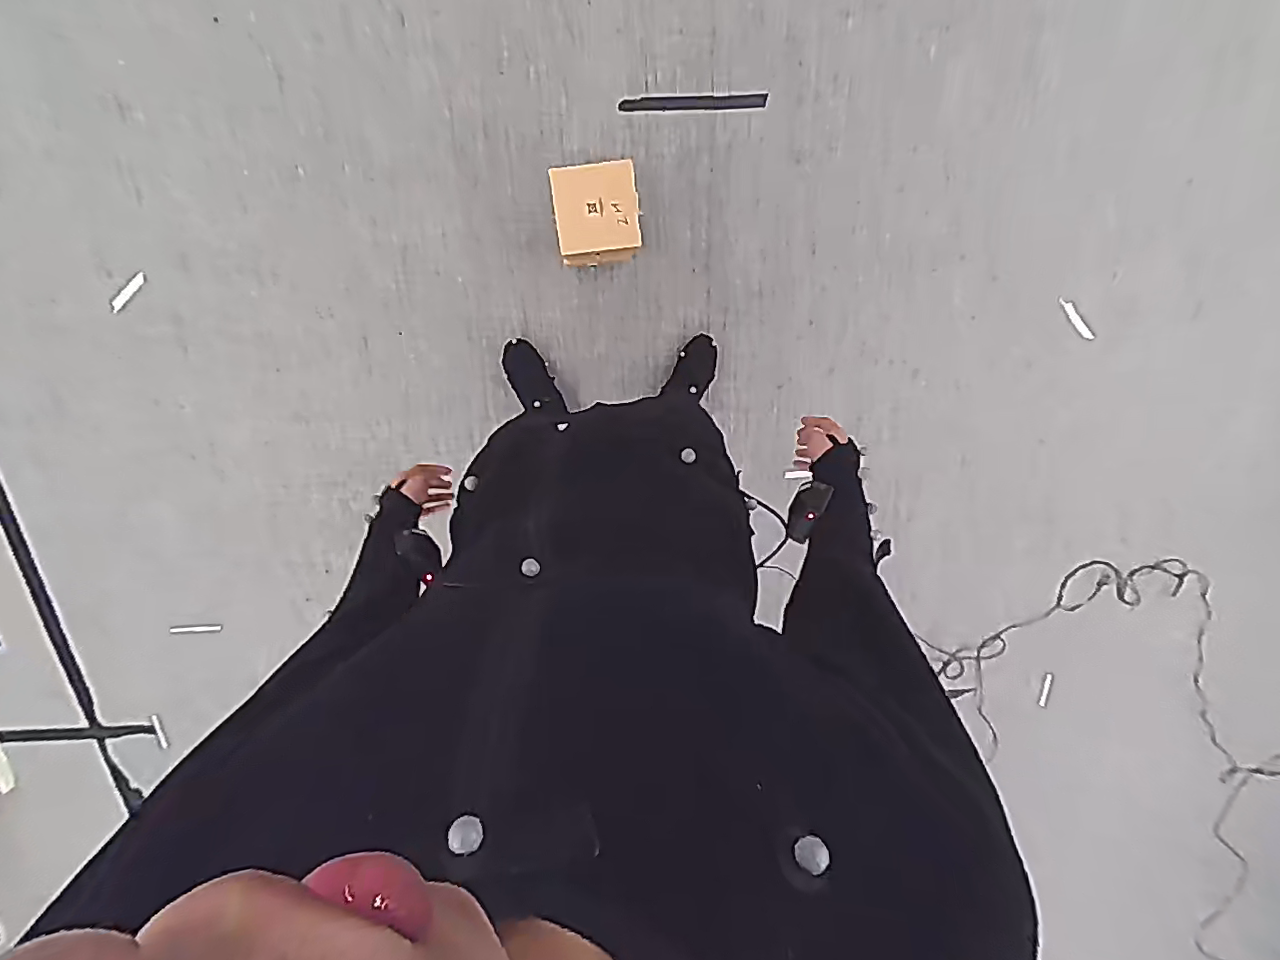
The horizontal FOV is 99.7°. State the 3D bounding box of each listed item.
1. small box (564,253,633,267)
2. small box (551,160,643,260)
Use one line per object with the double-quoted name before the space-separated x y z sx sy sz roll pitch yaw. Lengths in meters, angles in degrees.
"small box" -0.109 -0.633 1.344 0.168 0.176 0.179 -5 109 -1
"small box" -0.089 -0.585 1.188 0.179 0.176 0.168 -6 109 0
